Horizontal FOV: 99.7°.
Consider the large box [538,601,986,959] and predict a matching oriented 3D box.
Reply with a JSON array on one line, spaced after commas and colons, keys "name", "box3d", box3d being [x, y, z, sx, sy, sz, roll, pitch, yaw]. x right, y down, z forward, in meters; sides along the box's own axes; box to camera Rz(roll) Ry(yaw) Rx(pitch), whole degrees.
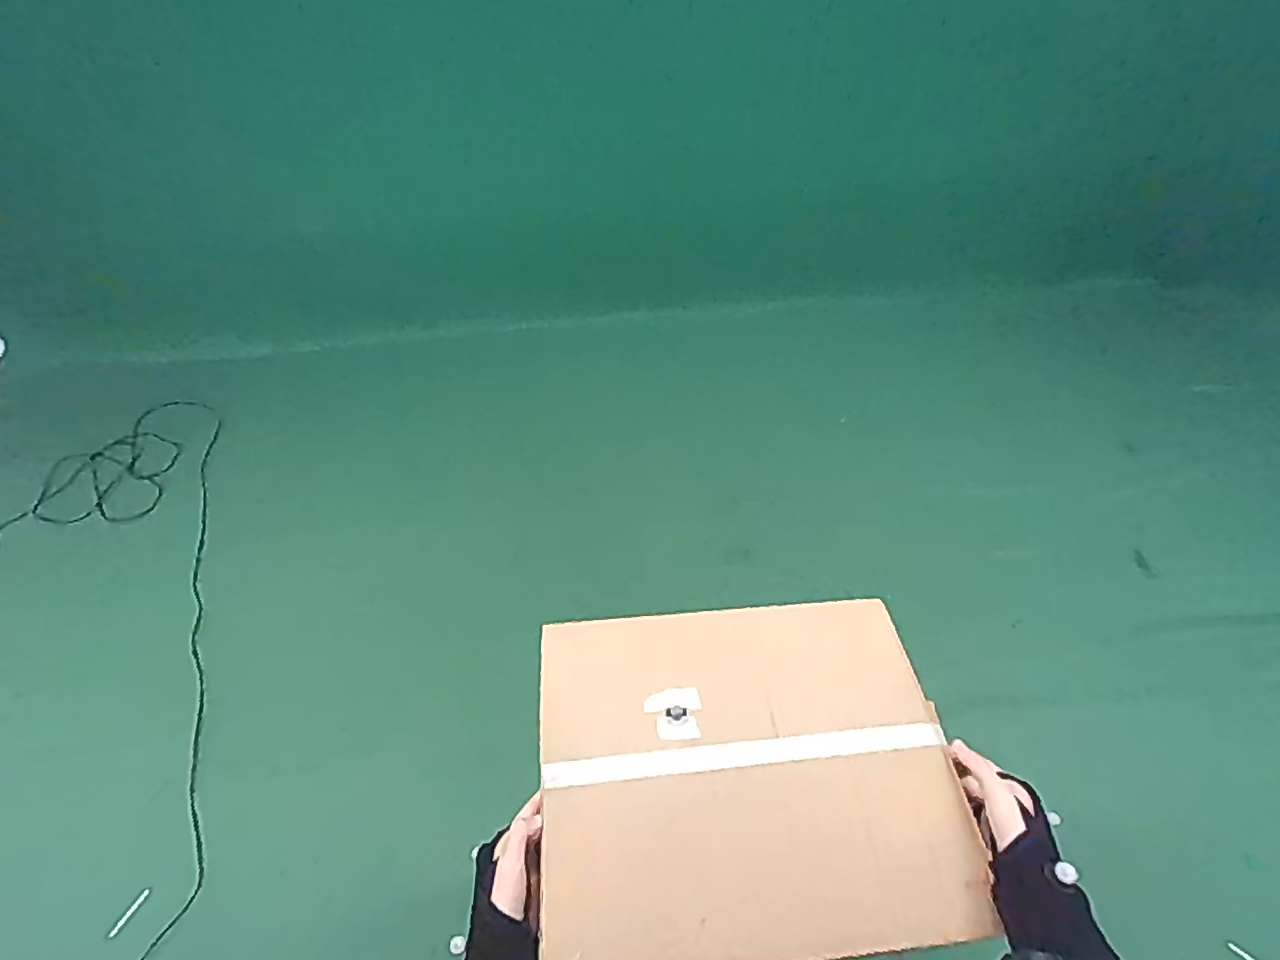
[{"name": "large box", "box3d": [0.097, 0.370, 0.670, 0.408, 0.320, 0.320, -3, 52, -4]}]
